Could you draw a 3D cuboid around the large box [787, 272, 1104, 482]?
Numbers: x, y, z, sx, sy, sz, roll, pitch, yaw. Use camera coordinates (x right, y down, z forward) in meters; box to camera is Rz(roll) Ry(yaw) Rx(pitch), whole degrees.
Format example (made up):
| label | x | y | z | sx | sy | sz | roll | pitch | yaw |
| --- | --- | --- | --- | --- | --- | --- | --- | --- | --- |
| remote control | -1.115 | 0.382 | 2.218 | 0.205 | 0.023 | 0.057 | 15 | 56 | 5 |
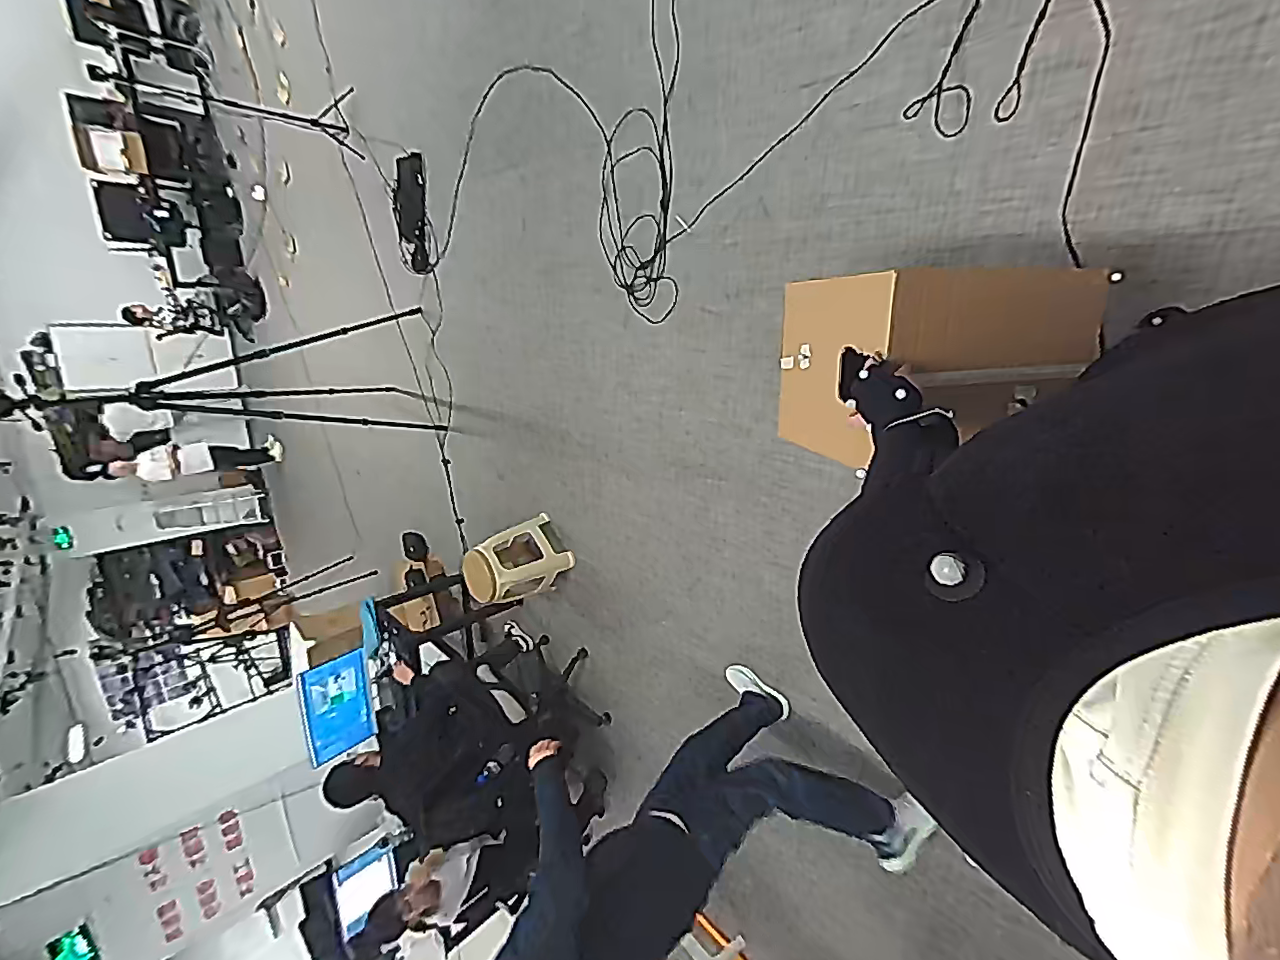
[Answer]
| label | x | y | z | sx | sy | sz | roll | pitch | yaw |
| --- | --- | --- | --- | --- | --- | --- | --- | --- | --- |
| large box | 0.525 | -0.202 | 1.001 | 0.320 | 0.408 | 0.320 | -135 | 41 | -68 |
